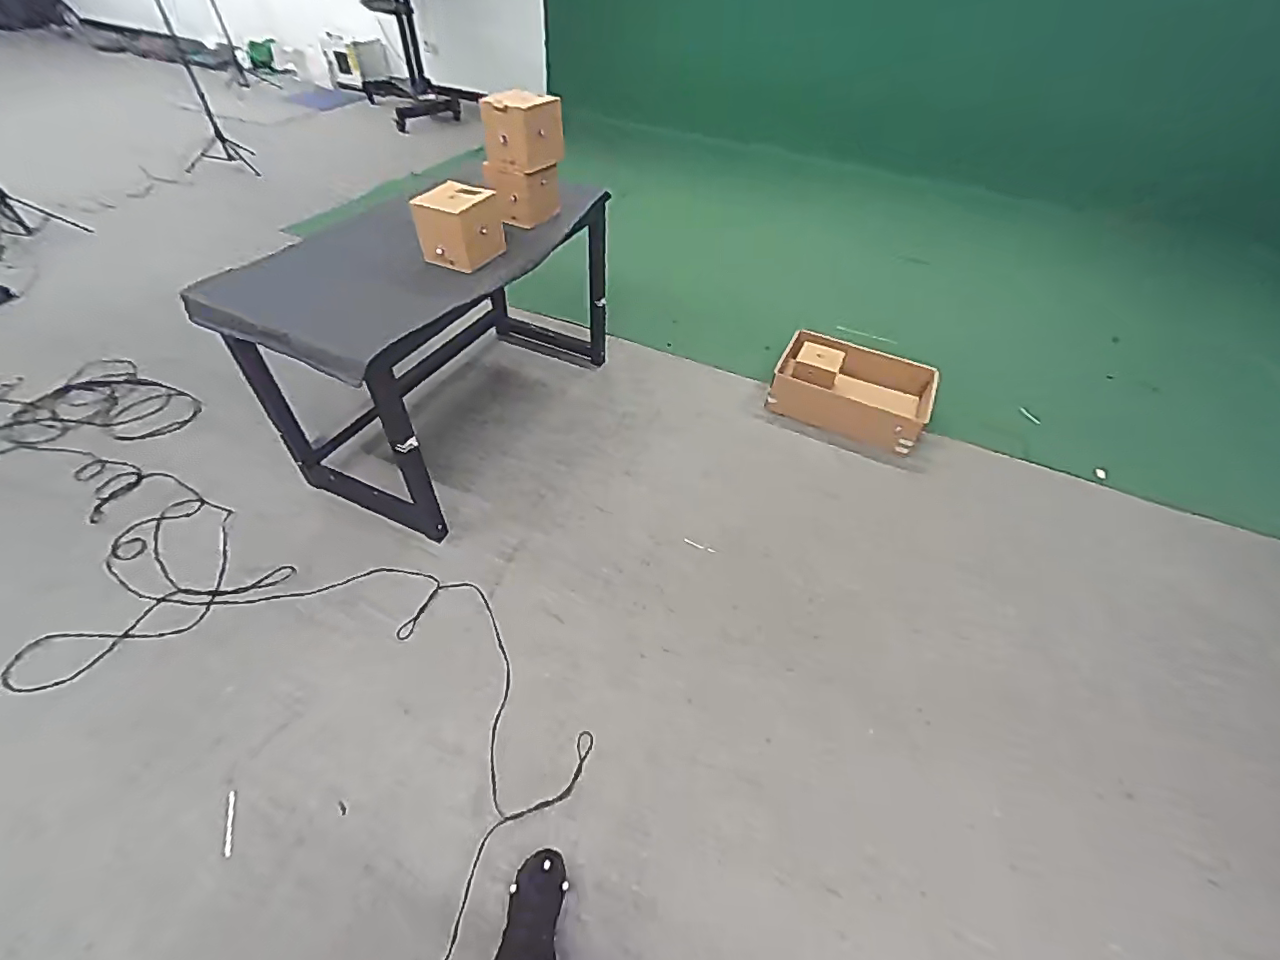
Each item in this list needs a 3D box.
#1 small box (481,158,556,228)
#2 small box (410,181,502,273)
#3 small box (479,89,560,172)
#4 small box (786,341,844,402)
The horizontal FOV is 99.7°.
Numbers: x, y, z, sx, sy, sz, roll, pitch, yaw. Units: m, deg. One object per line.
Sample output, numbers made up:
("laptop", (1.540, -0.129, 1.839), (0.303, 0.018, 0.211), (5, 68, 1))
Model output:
("small box", (-0.381, -0.938, 1.745), (0.168, 0.176, 0.179), (24, 49, 17))
("small box", (-0.507, -0.712, 1.525), (0.168, 0.176, 0.179), (20, 51, 16))
("small box", (-0.353, -1.051, 1.628), (0.168, 0.176, 0.179), (26, 51, 19))
("small box", (0.742, -0.459, 2.308), (0.179, 0.176, 0.168), (23, 51, 14))
